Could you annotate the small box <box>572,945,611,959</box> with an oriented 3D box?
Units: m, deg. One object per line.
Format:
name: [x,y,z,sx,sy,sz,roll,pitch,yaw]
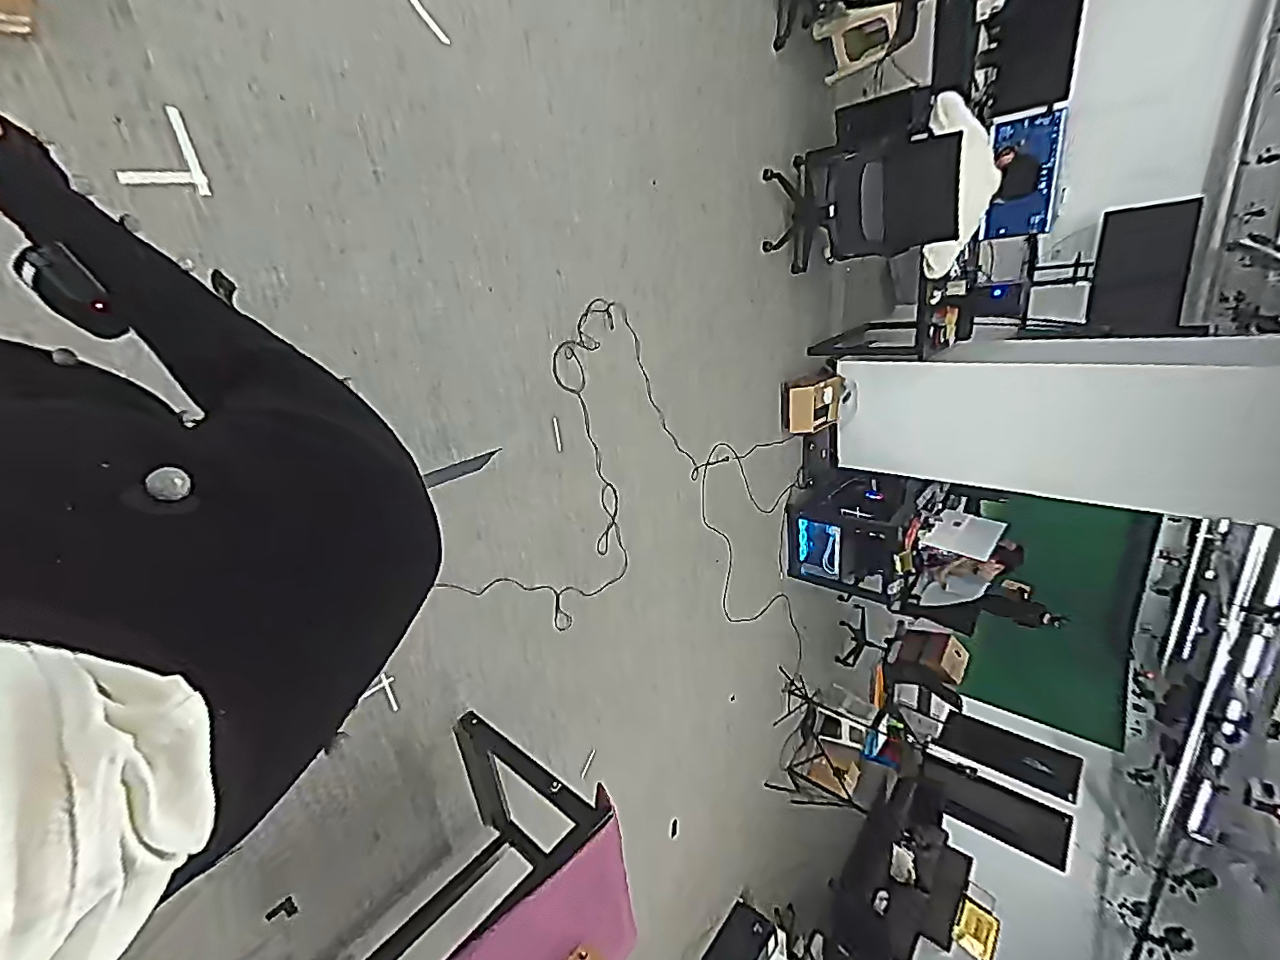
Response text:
small box: [-0.136,1.431,1.474,0.168,0.176,0.179,-20,113,-45]
